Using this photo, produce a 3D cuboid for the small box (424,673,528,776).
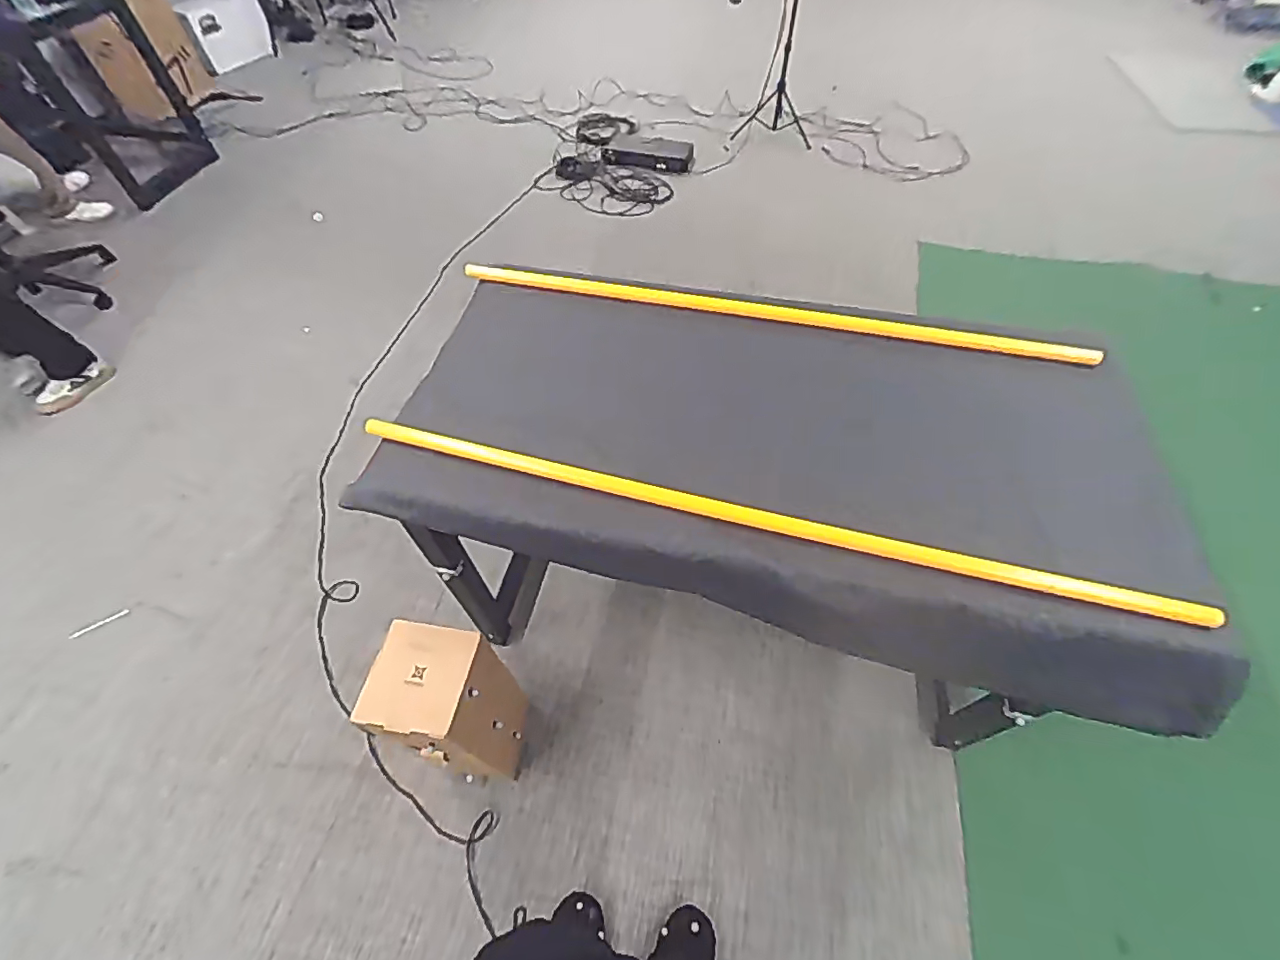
[{"bbox_3d":[-0.362,0.560,1.234,0.168,0.176,0.179,4,55,4],"label":"small box"}]
